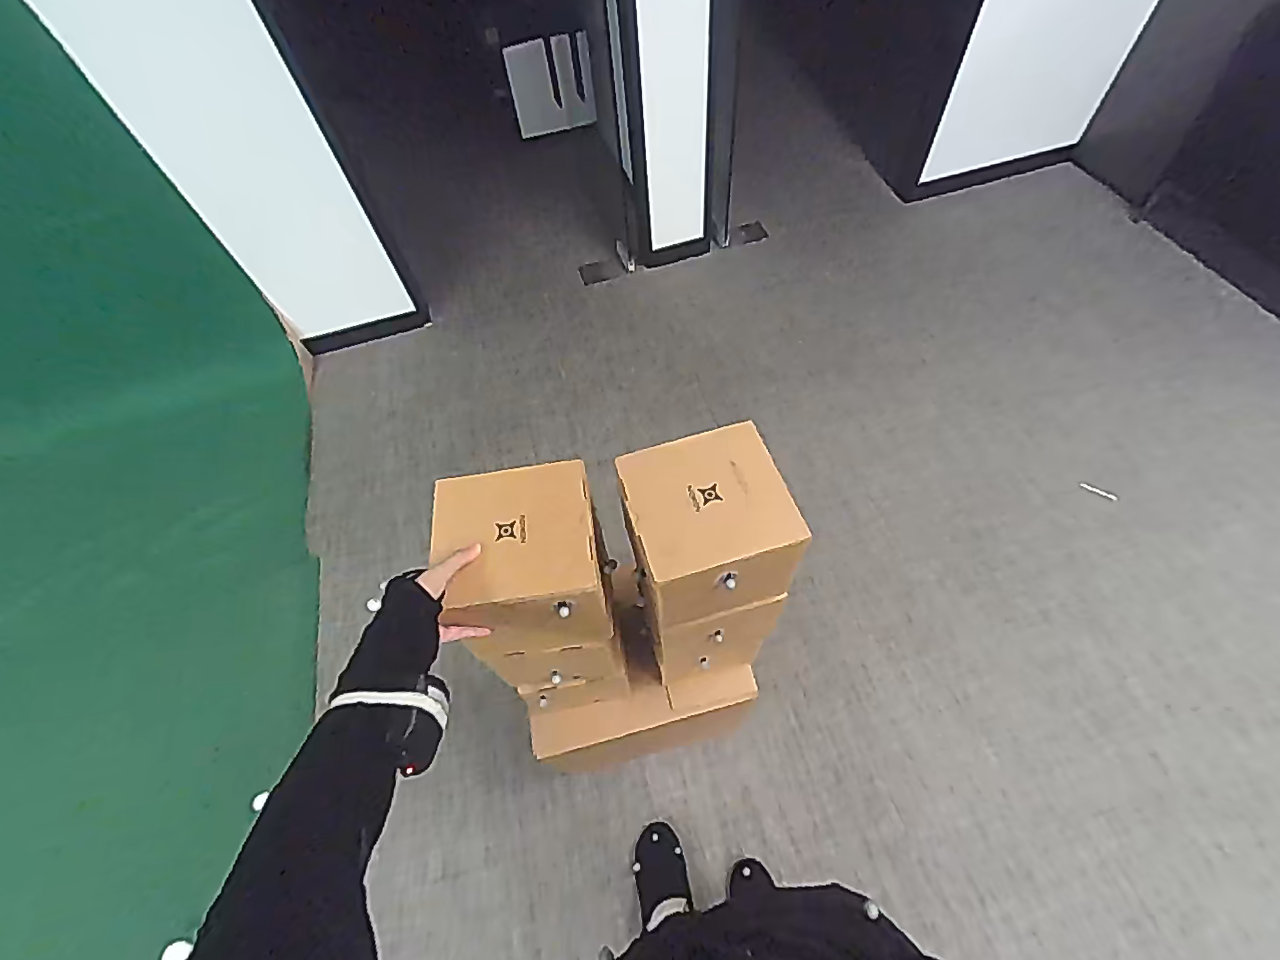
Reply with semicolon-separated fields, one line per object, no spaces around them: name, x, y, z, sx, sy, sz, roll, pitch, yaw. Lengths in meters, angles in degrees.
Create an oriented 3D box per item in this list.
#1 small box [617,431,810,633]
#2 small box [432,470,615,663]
small box;0.083;0.071;0.666;0.179;0.176;0.168;-16;58;-5
small box;-0.133;0.112;0.661;0.179;0.176;0.168;-9;57;-2
